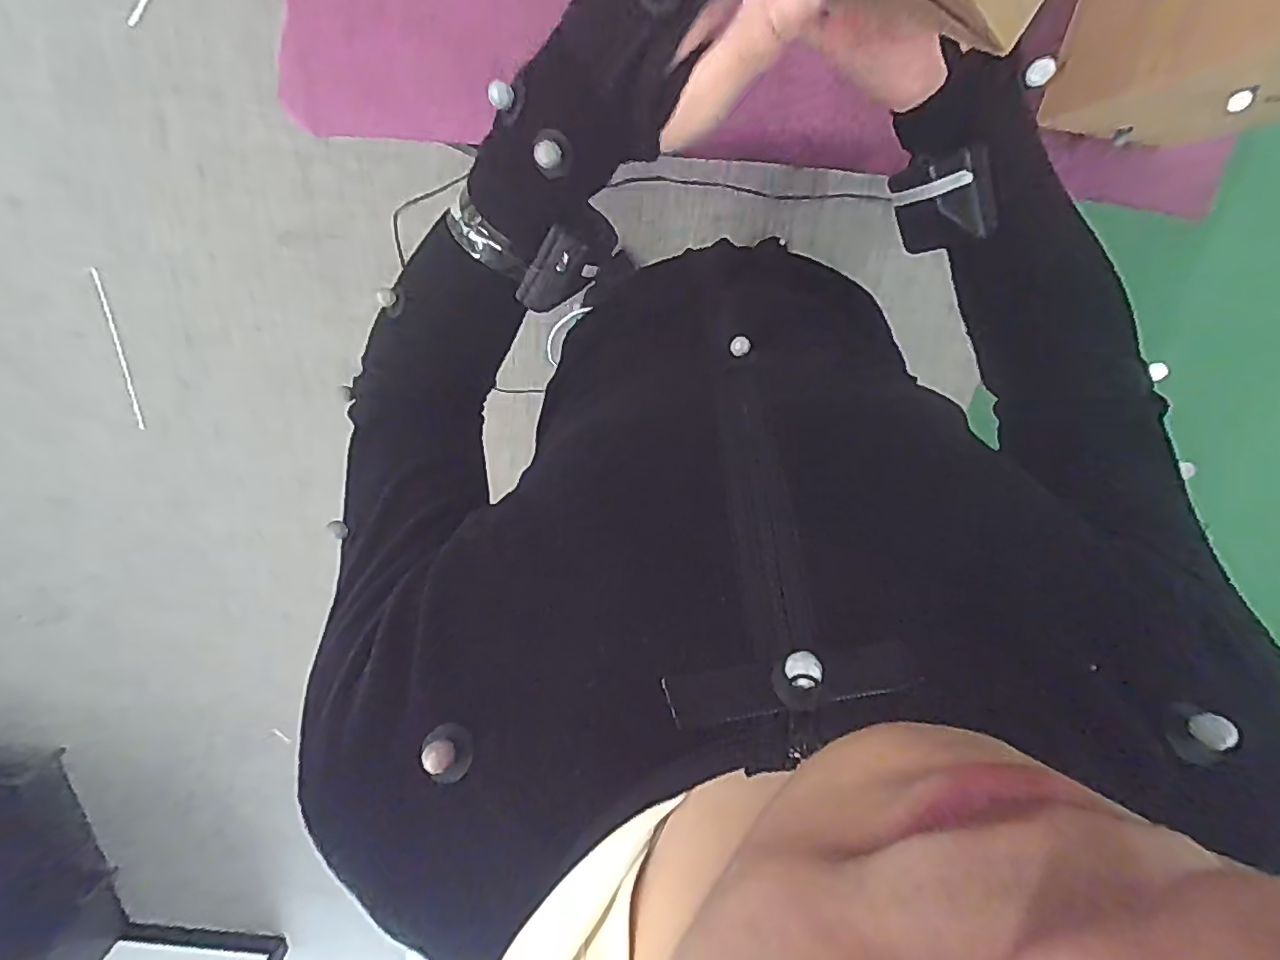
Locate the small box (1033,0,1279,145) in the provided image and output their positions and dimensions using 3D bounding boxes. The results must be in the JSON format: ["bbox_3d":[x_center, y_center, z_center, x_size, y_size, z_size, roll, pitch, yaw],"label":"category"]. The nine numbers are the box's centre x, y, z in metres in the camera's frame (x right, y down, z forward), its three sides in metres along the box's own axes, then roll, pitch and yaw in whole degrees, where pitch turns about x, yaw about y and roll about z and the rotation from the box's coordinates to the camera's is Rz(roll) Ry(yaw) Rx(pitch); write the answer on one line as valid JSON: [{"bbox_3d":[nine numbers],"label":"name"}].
[{"bbox_3d":[0.592,-0.484,0.590,0.179,0.176,0.168,9,111,-1],"label":"small box"}]
